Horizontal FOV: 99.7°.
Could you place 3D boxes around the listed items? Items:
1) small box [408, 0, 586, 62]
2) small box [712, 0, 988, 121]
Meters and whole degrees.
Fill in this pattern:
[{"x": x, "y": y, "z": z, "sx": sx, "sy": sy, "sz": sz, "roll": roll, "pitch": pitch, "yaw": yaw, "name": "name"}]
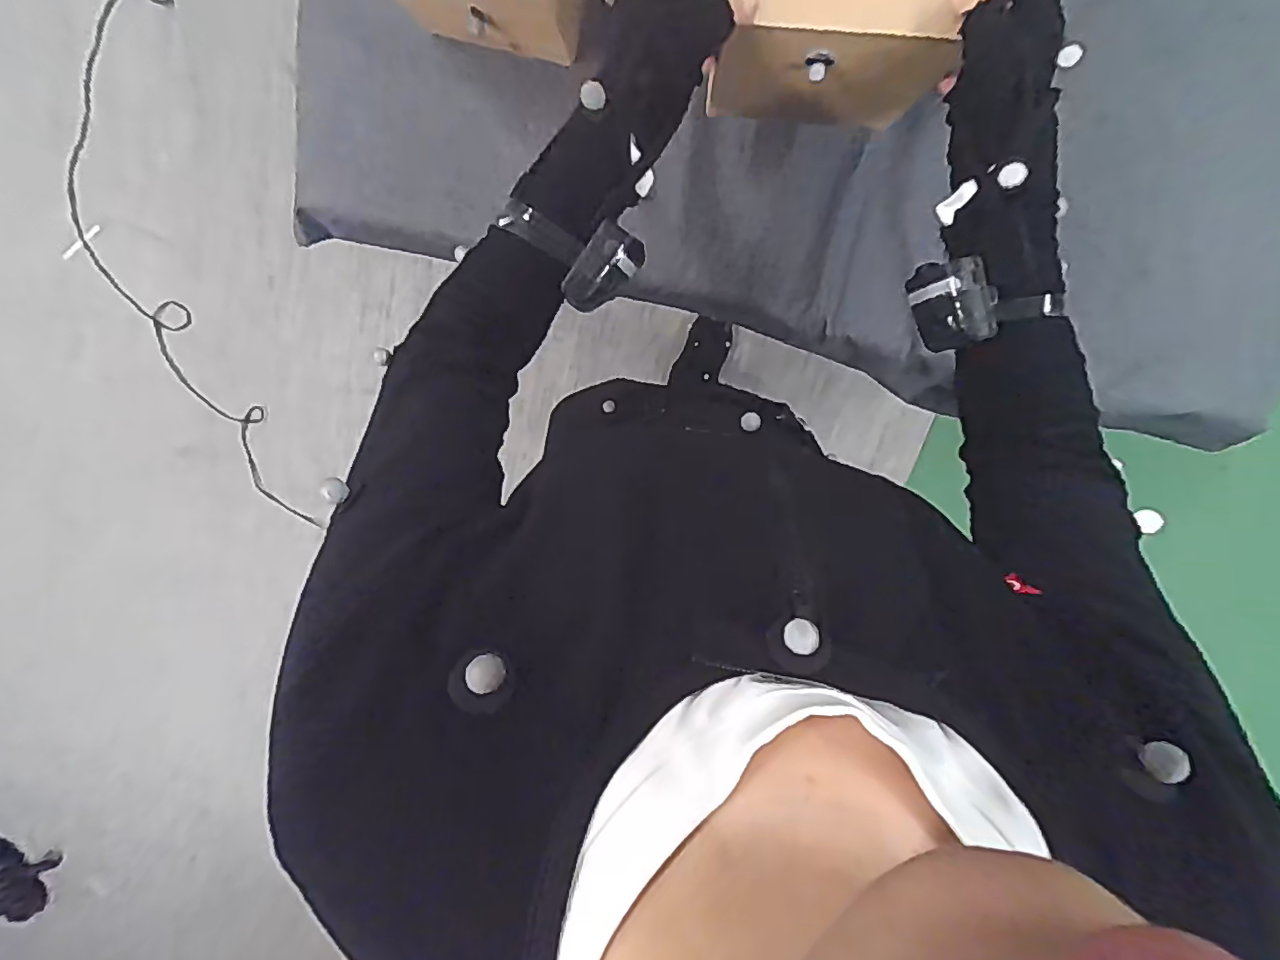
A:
[{"x": -0.136, "y": -0.523, "z": 0.491, "sx": 0.168, "sy": 0.176, "sz": 0.179, "roll": 13, "pitch": 109, "yaw": 0, "name": "small box"}, {"x": 0.153, "y": -0.405, "z": 0.424, "sx": 0.179, "sy": 0.176, "sz": 0.168, "roll": 3, "pitch": 106, "yaw": 2, "name": "small box"}]
